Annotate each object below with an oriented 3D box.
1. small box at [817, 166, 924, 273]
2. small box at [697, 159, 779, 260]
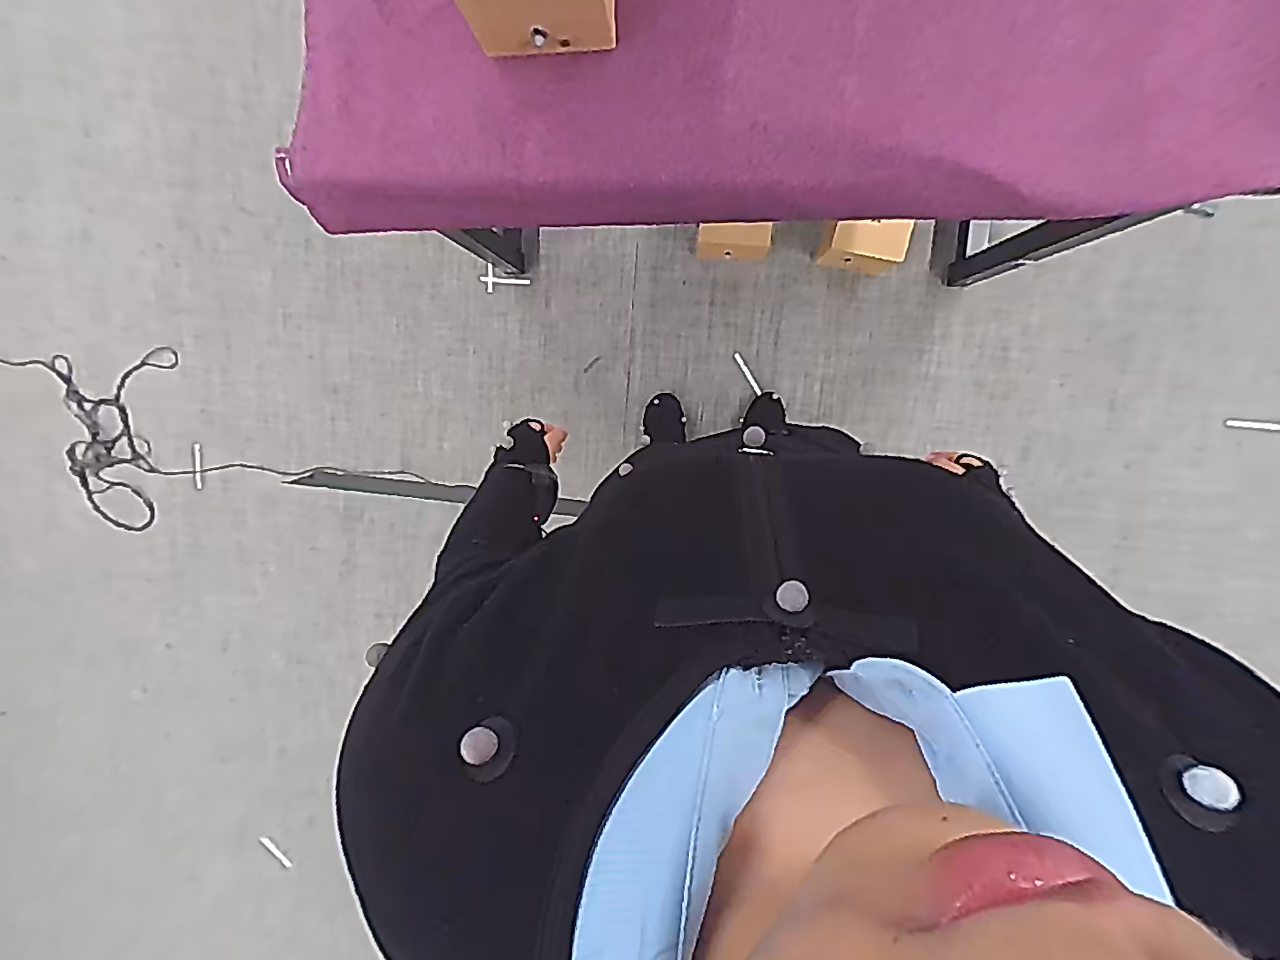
[{"bbox_3d":[0.534,-0.606,1.280,0.168,0.176,0.179,13,100,3],"label":"small box"},{"bbox_3d":[0.227,-0.640,1.297,0.168,0.176,0.179,6,100,3],"label":"small box"}]
